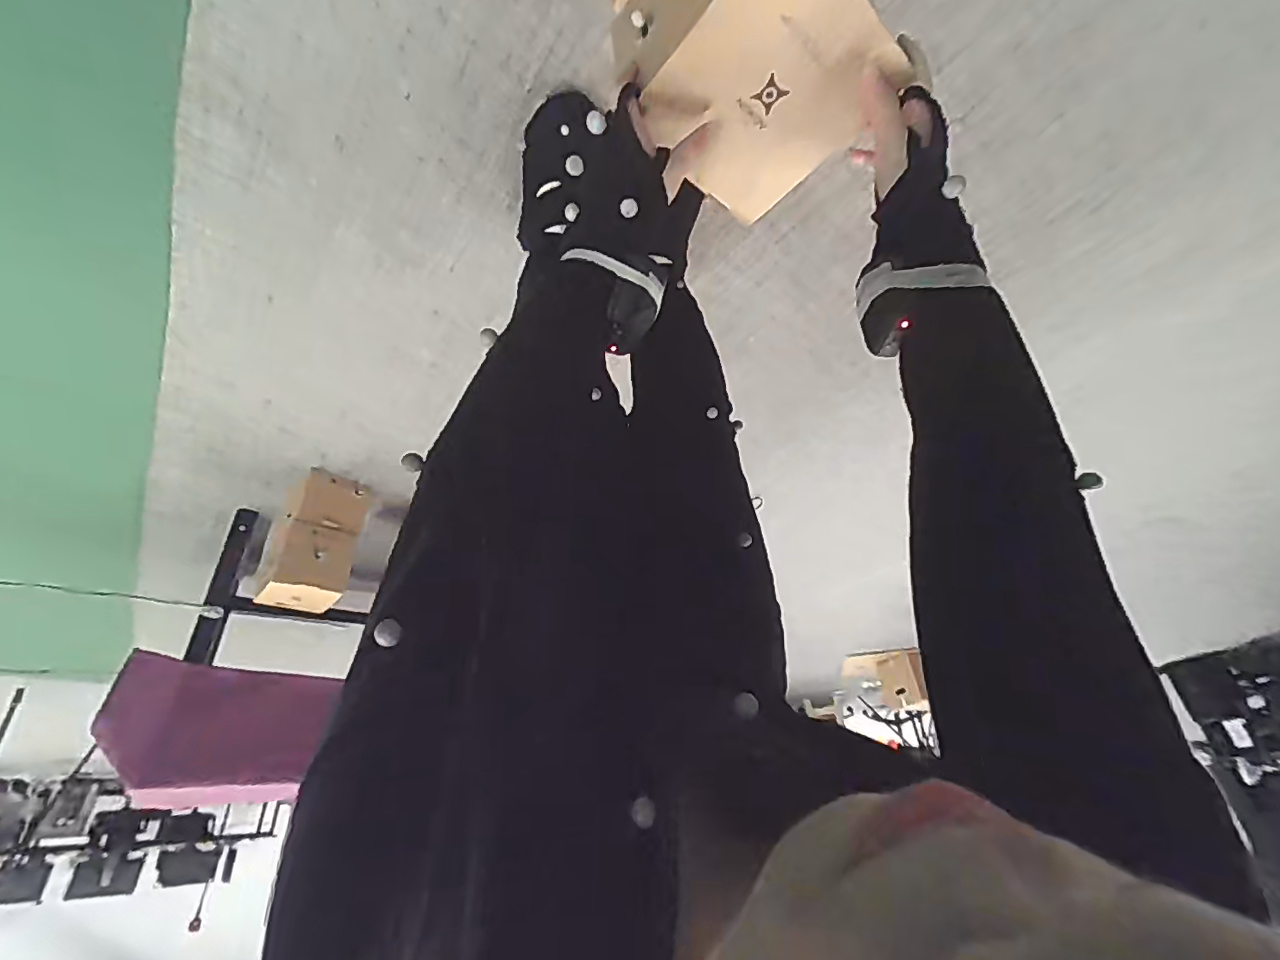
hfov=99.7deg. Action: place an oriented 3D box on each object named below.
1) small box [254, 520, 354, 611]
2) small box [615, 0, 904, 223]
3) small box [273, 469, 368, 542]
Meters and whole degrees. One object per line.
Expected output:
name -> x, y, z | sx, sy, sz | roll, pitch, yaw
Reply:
small box -> -0.876, 0.225, 1.423 | 0.168, 0.176, 0.179 | 25, 136, -37
small box -> 0.092, -0.382, 0.477 | 0.168, 0.176, 0.179 | 19, 144, -37
small box -> -0.888, 0.092, 1.518 | 0.179, 0.176, 0.168 | -28, 140, 33
